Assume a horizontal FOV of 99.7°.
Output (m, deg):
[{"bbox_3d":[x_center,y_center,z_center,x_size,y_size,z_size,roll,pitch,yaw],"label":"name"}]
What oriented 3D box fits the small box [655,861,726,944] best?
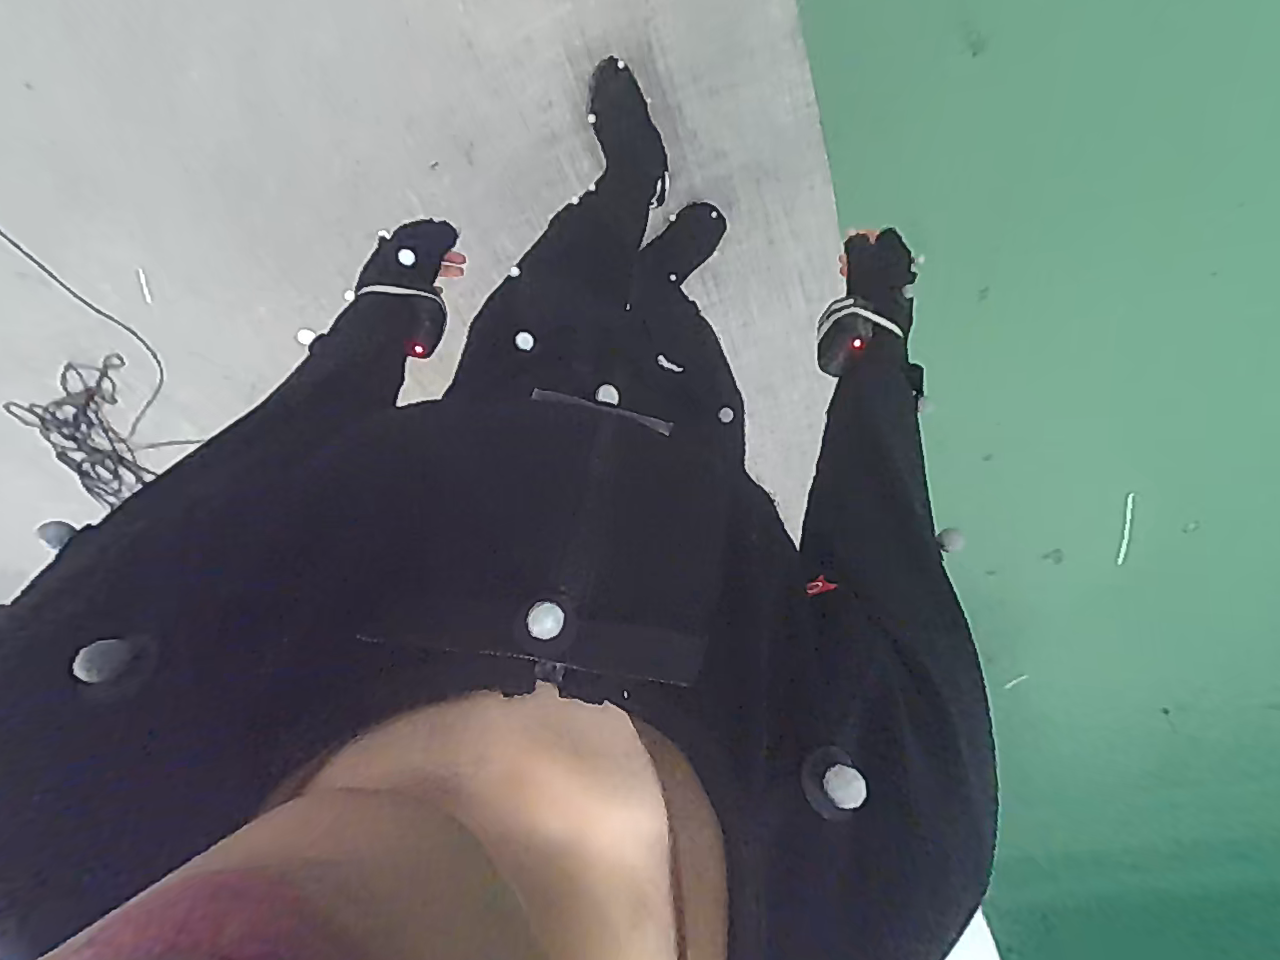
[{"bbox_3d":[0.152,1.284,1.649,0.168,0.176,0.179,-18,125,18],"label":"small box"}]
